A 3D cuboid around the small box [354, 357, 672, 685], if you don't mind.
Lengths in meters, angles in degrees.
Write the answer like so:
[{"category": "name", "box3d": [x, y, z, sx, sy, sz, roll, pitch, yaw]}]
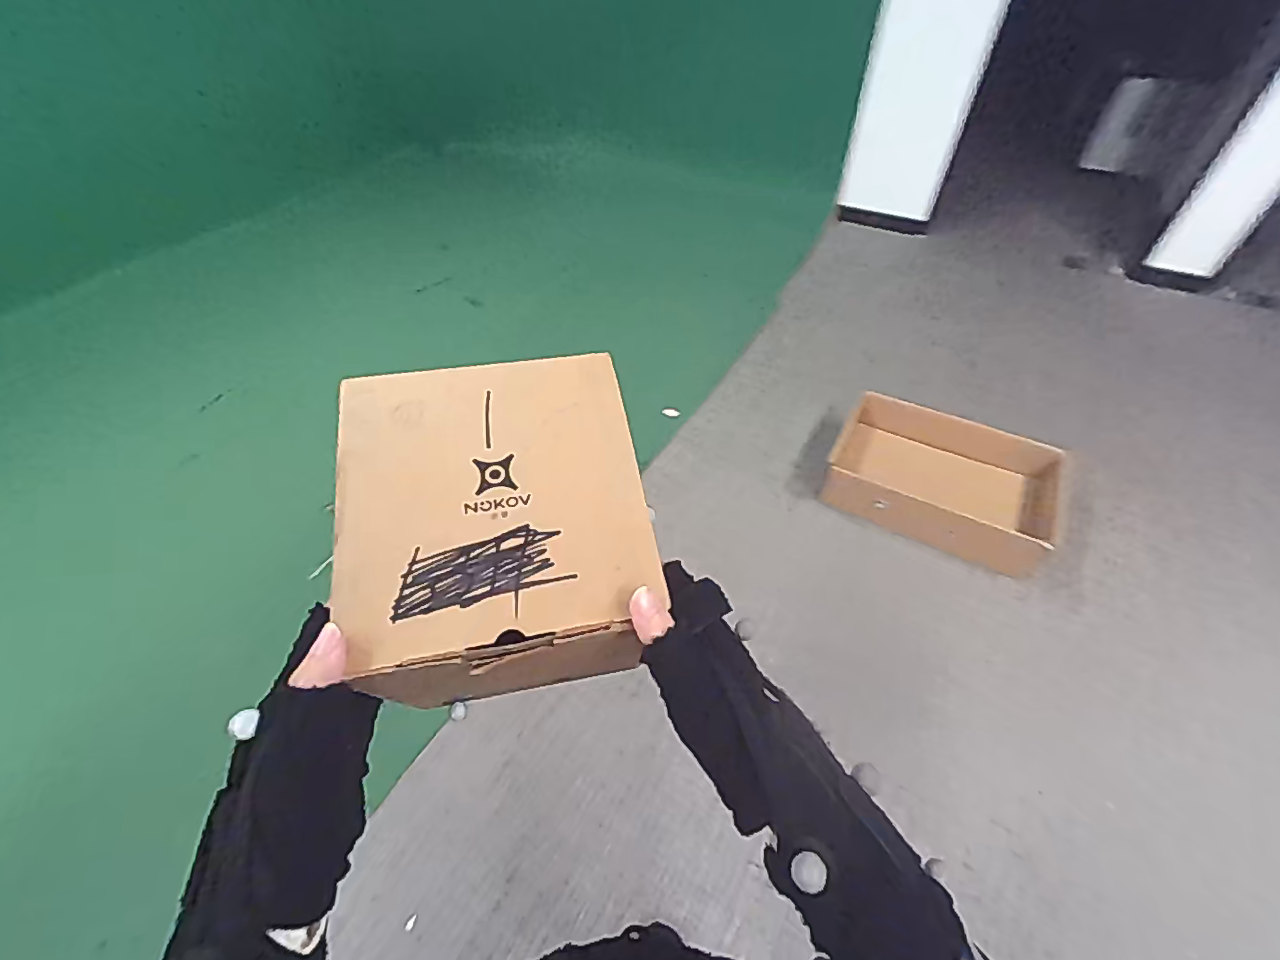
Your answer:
[{"category": "small box", "box3d": [-0.081, 0.040, 0.382, 0.168, 0.176, 0.179, -7, 63, -10]}]
